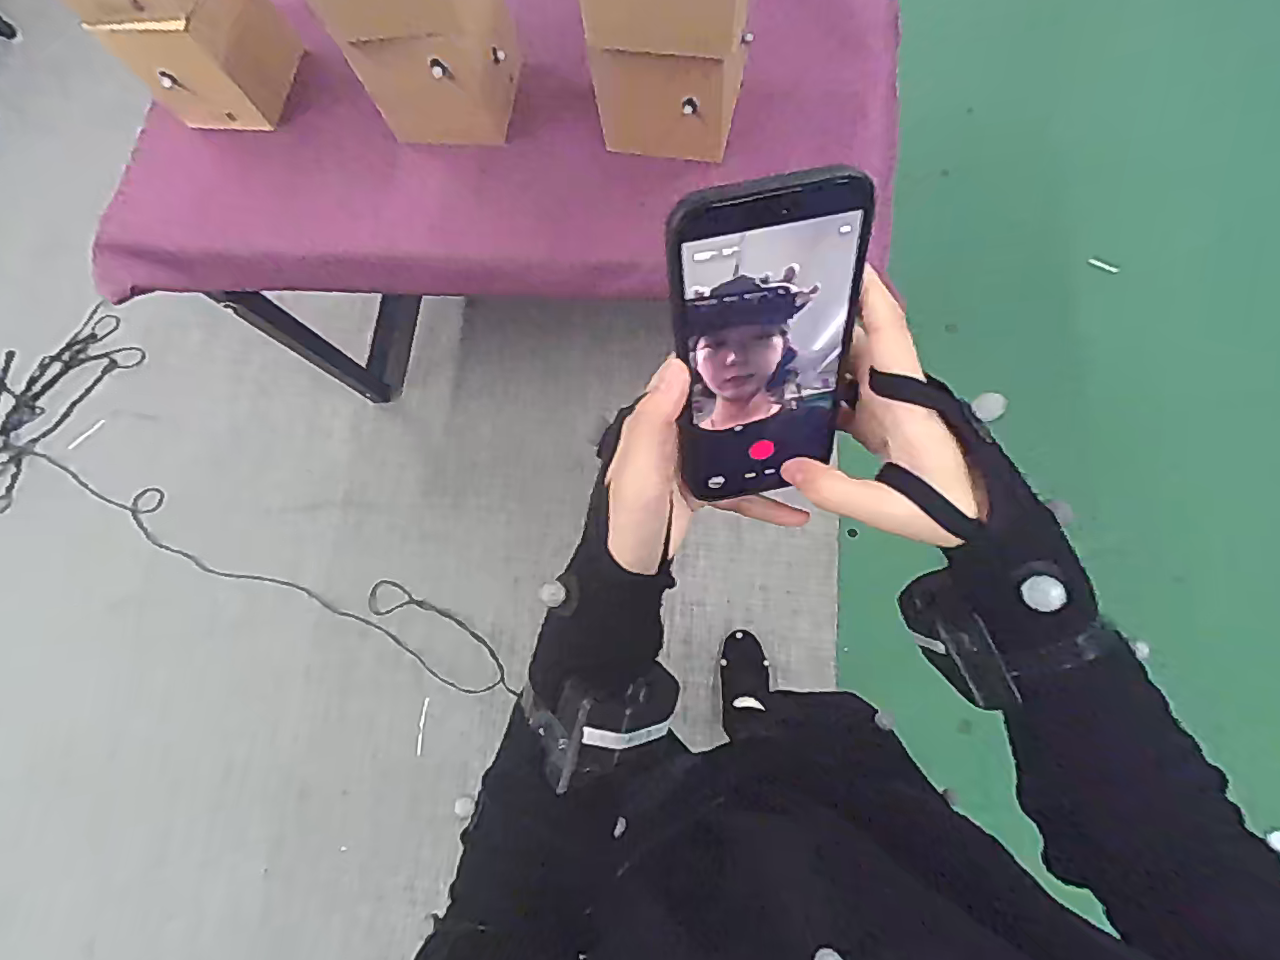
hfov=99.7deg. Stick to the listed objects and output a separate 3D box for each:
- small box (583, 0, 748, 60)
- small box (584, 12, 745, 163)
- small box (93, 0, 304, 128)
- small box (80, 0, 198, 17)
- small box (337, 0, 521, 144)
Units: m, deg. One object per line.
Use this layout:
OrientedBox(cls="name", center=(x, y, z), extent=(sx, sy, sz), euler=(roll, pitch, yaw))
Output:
OrientedBox(cls="small box", center=(0.032, -0.594, 0.576), extent=(0.179, 0.176, 0.168), euler=(13, 78, 9))
OrientedBox(cls="small box", center=(0.043, -0.570, 0.738), extent=(0.179, 0.176, 0.168), euler=(13, 77, 10))
OrientedBox(cls="small box", center=(-0.671, -0.688, 0.845), extent=(0.168, 0.176, 0.179), euler=(7, 77, 8))
OrientedBox(cls="small box", center=(-0.687, -0.736, 0.689), extent=(0.168, 0.176, 0.179), euler=(2, 77, 6))
OrientedBox(cls="small box", center=(-0.290, -0.623, 0.786), extent=(0.179, 0.176, 0.168), euler=(7, 77, 8))
